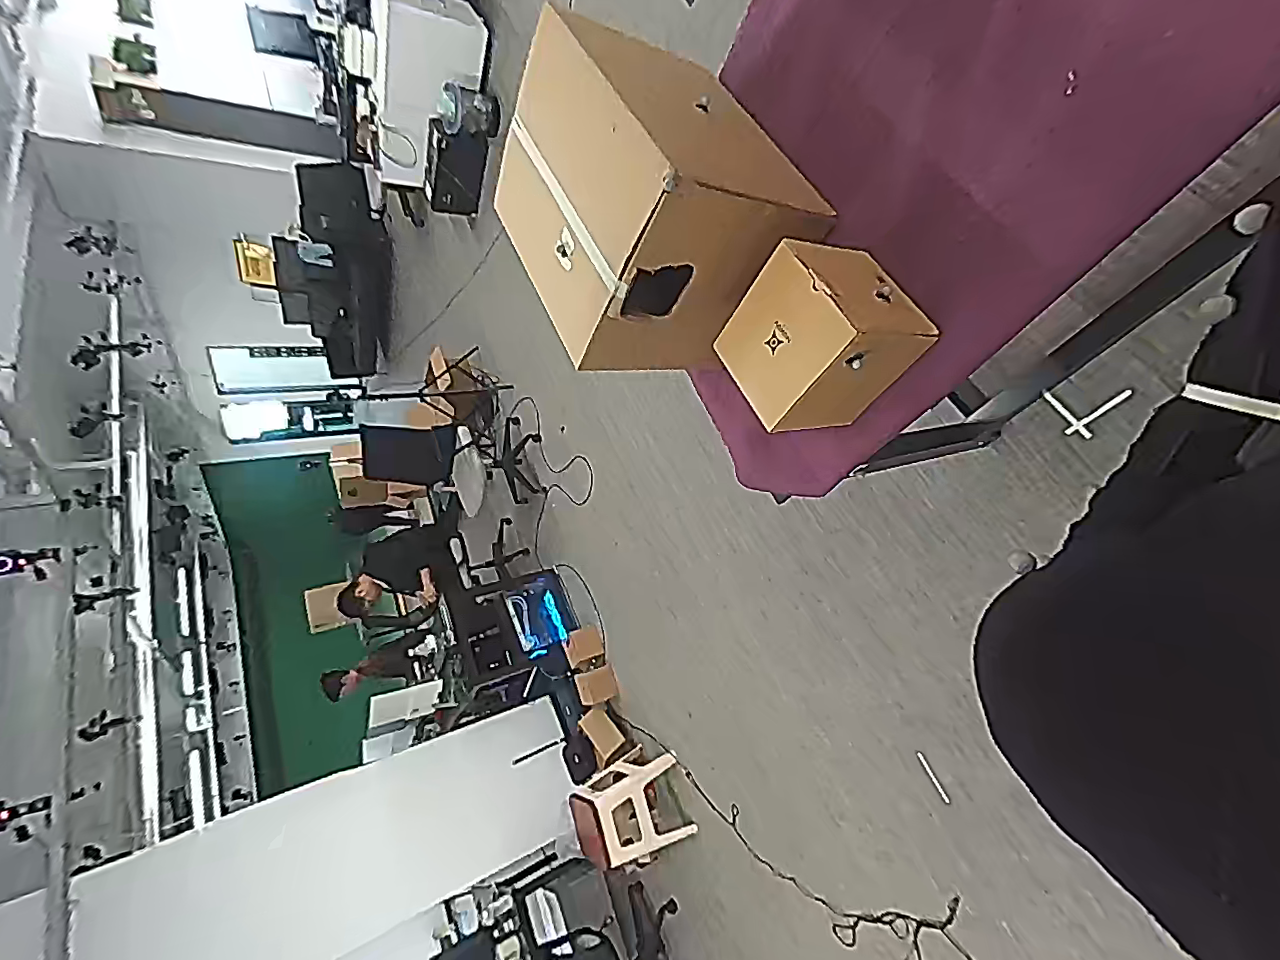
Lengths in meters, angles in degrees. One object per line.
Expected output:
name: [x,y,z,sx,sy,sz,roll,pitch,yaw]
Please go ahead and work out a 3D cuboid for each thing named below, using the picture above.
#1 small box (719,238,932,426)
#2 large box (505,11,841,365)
small box: [0.244,-0.192,0.730,0.168,0.176,0.179,64,143,26]
large box: [0.027,-0.437,0.871,0.408,0.320,0.320,62,142,23]
